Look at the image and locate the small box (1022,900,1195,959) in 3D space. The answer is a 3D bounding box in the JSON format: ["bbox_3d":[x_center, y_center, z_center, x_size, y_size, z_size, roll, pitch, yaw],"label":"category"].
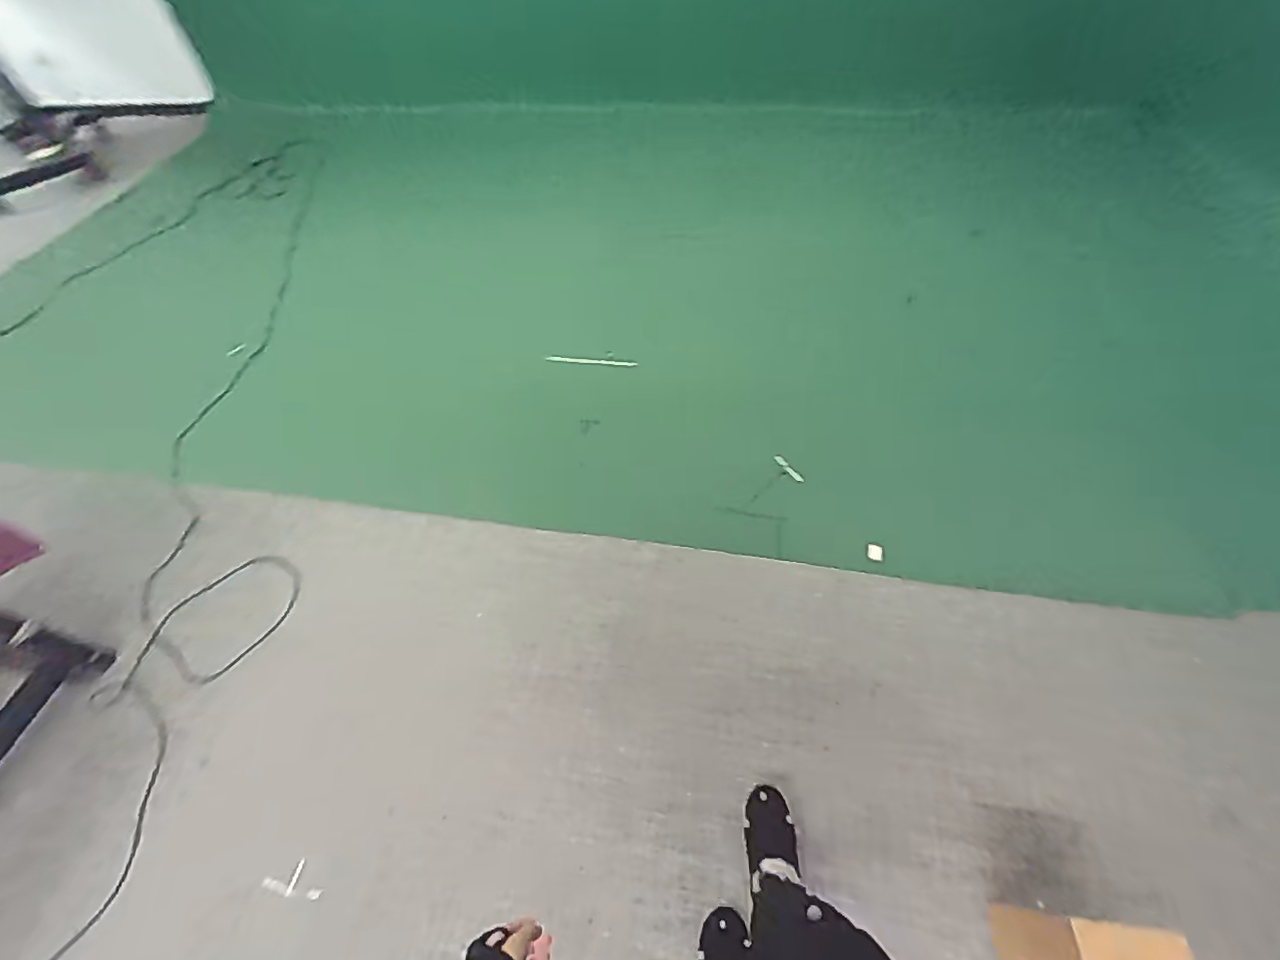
[{"bbox_3d":[0.765,0.805,0.876,0.168,0.176,0.179,4,54,8],"label":"small box"}]

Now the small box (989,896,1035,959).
[{"bbox_3d":[0.790,0.898,1.008,0.168,0.176,0.179,3,54,8],"label":"small box"}]
